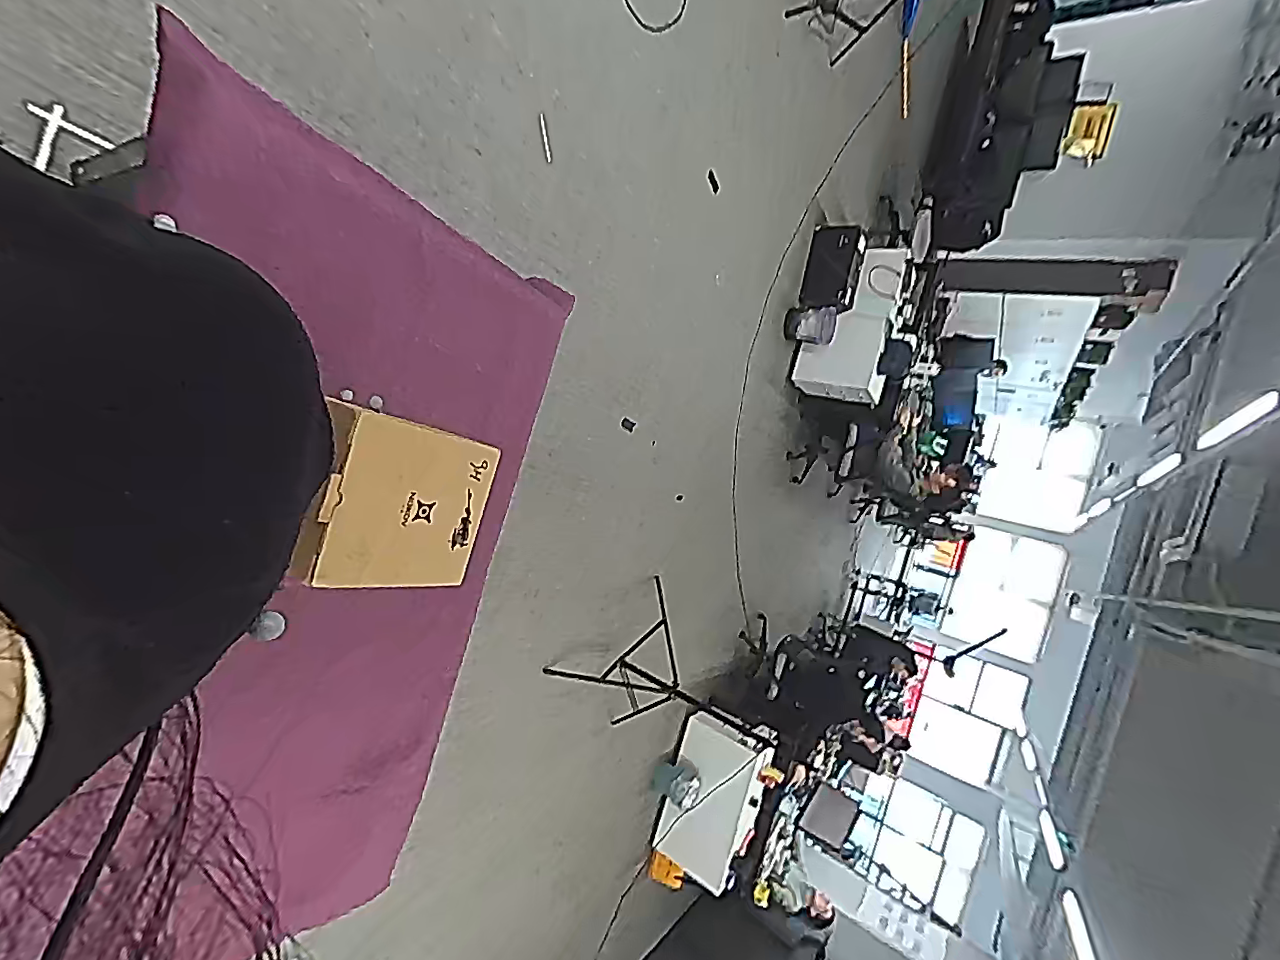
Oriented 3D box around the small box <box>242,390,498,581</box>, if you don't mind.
[{"bbox_3d":[-0.298,0.006,0.602,0.179,0.176,0.168,19,88,-58],"label":"small box"}]
